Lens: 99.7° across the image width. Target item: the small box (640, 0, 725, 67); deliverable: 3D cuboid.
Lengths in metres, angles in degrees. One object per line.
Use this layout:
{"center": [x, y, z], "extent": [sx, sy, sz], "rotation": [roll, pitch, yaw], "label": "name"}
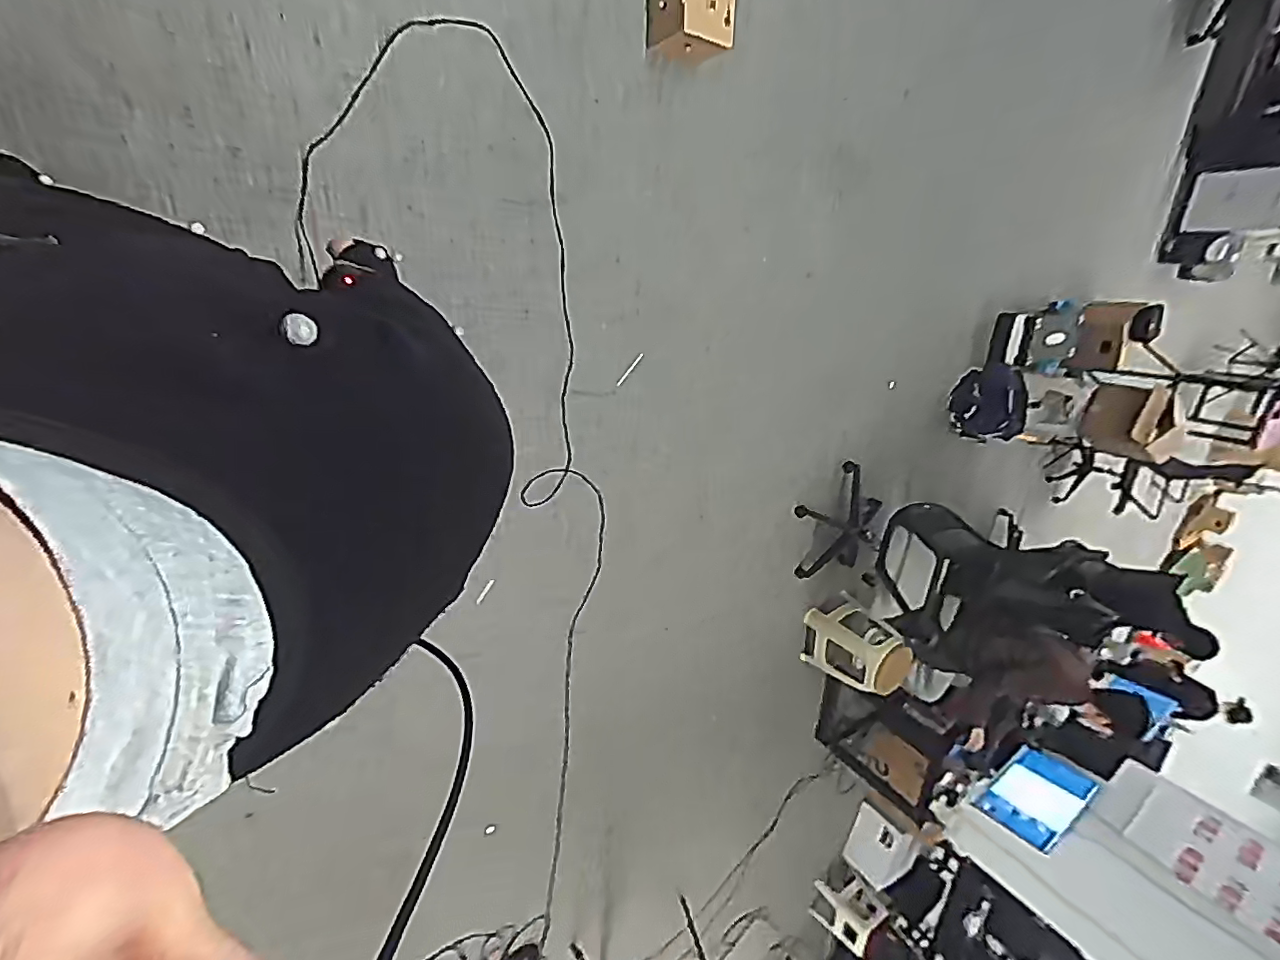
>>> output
{"center": [0.114, -1.282, 1.497], "extent": [0.179, 0.176, 0.168], "rotation": [-11, 113, -32], "label": "small box"}
